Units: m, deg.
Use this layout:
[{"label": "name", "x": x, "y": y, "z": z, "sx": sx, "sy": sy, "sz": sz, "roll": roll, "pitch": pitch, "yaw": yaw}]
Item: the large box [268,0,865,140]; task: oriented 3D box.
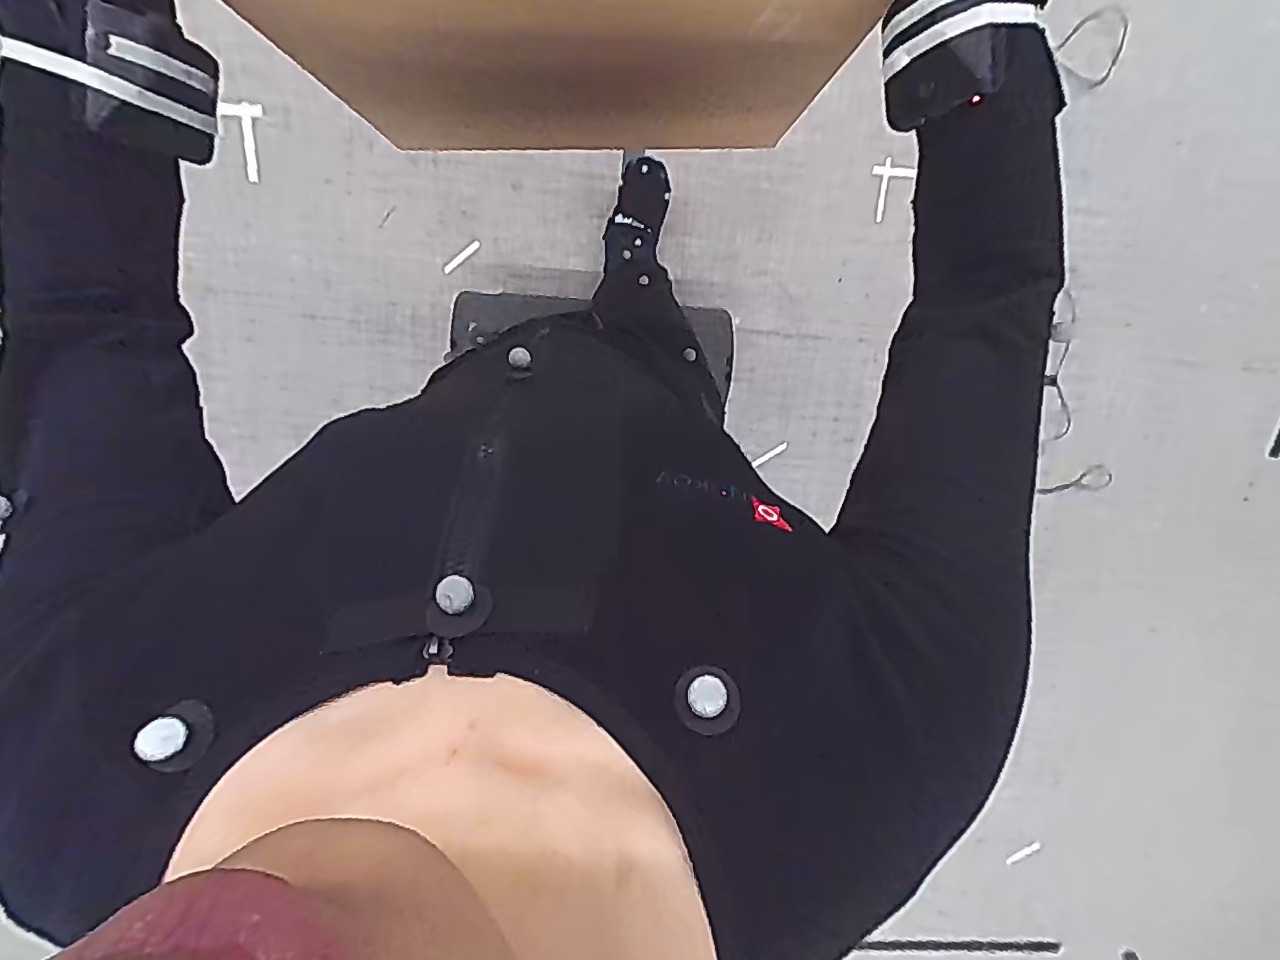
[{"label": "large box", "x": -0.051, "y": -0.477, "z": 0.395, "sx": 0.408, "sy": 0.320, "sz": 0.320, "roll": -2, "pitch": 106, "yaw": -2}]
